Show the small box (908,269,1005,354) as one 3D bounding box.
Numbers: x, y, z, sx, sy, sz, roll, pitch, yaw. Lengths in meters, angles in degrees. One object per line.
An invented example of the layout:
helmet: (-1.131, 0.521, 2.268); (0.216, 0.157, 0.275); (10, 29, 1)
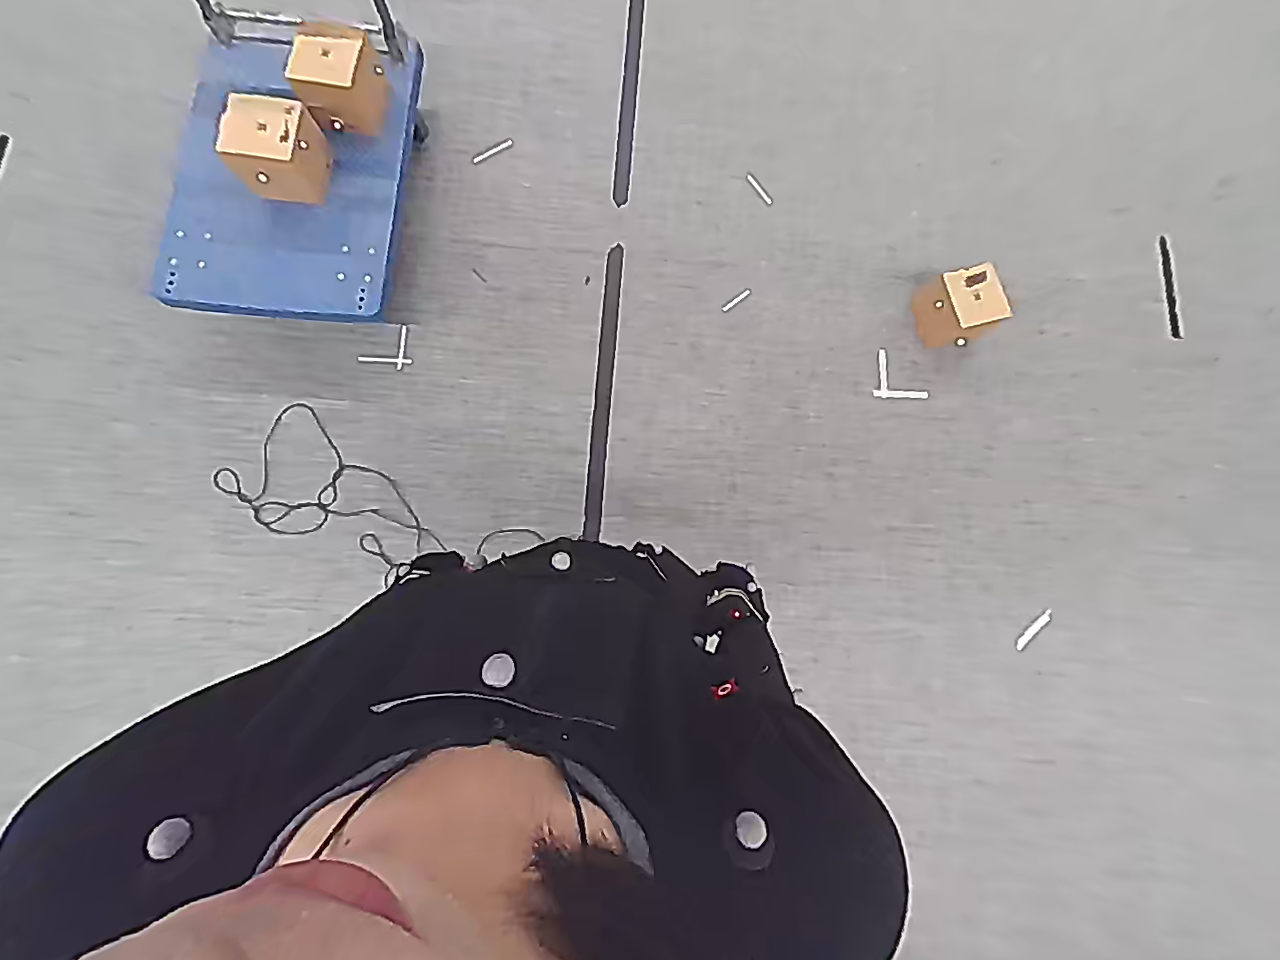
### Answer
small box: (0.958, -0.511, 1.656); (0.168, 0.176, 0.179); (-14, 82, -6)

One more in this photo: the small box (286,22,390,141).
small box: (-0.787, -1.046, 1.429); (0.168, 0.176, 0.179); (8, 81, -1)

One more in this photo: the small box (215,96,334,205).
small box: (-0.923, -0.834, 1.382); (0.179, 0.176, 0.168); (6, 81, -2)
